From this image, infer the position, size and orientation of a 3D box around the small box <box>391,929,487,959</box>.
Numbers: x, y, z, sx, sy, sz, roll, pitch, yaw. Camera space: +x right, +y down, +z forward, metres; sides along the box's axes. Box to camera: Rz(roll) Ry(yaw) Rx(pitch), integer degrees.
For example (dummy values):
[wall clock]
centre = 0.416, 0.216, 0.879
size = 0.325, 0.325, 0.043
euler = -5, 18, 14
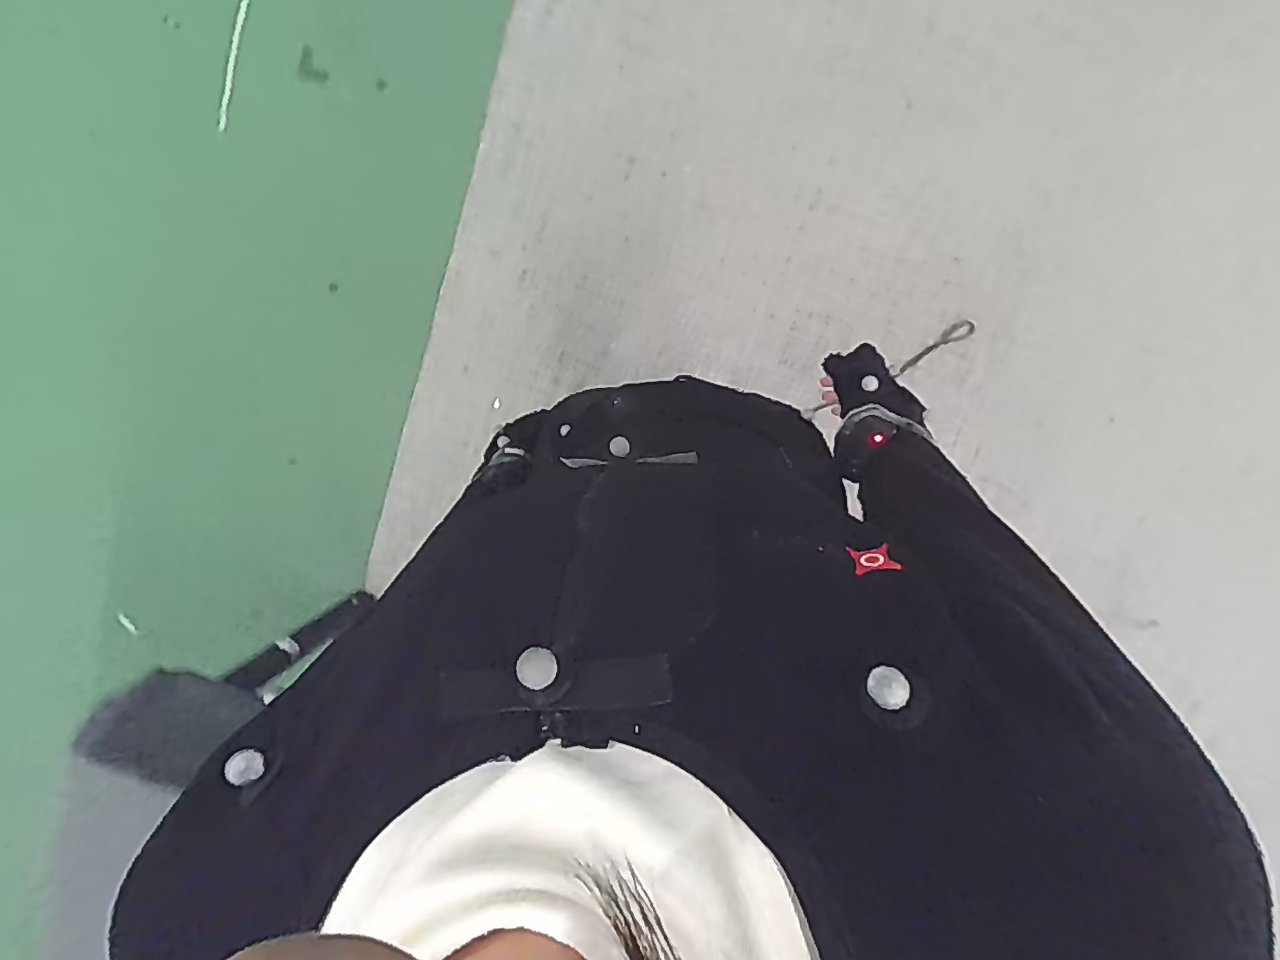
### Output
[small box]
centre = -0.327, 0.830, 0.805
size = 0.179, 0.176, 0.168
euler = 21, 102, 4
